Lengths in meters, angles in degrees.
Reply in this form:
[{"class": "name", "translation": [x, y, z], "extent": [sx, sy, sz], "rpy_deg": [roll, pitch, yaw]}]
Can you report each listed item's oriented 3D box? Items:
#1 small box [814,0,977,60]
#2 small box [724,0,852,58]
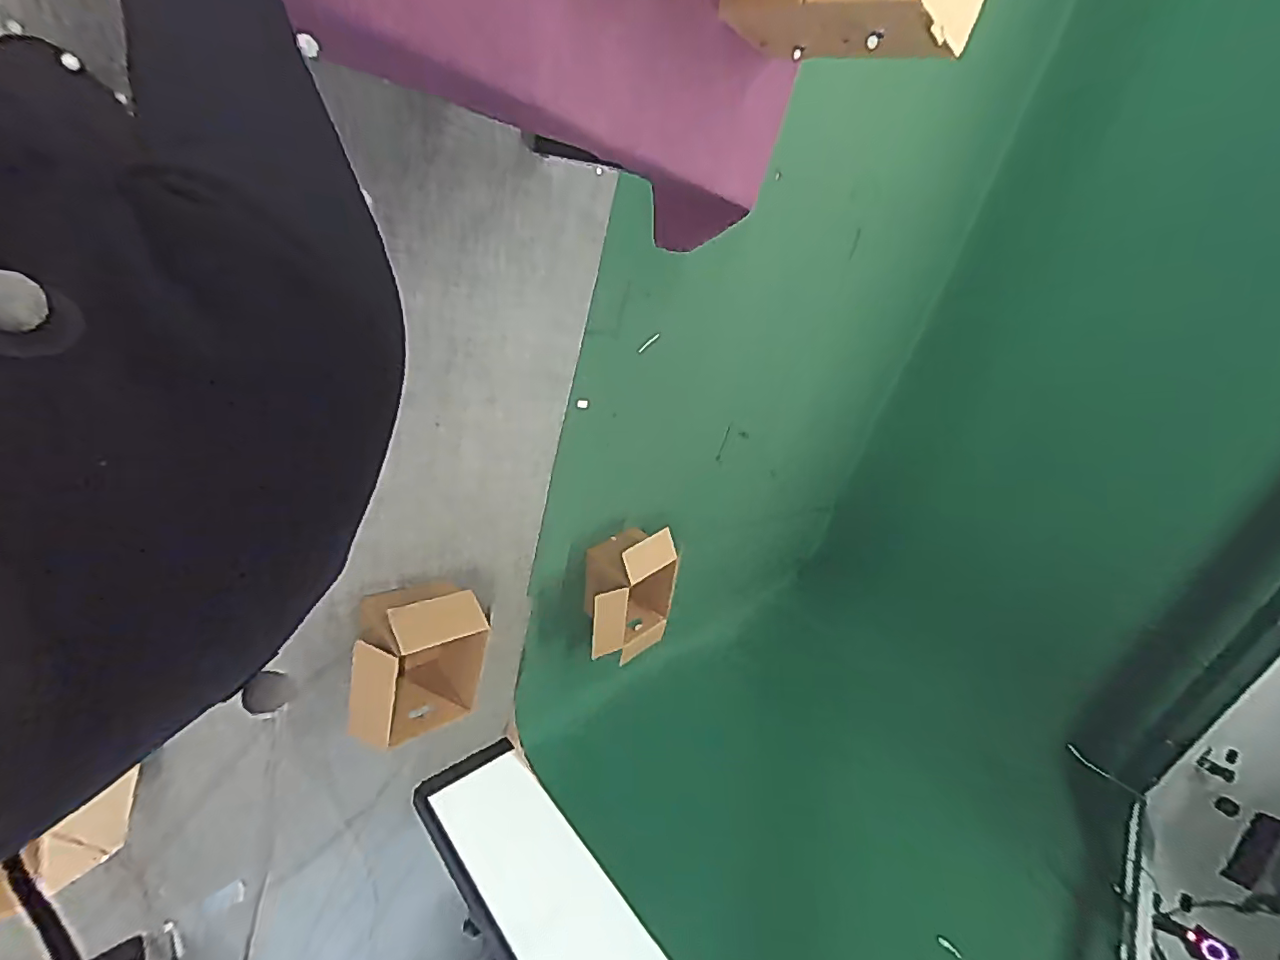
[{"class": "small box", "translation": [0.353, -0.701, 0.720], "extent": [0.168, 0.176, 0.179], "rpy_deg": [-9, 125, -47]}, {"class": "small box", "translation": [0.247, -0.779, 0.818], "extent": [0.168, 0.176, 0.179], "rpy_deg": [-8, 124, -46]}]
